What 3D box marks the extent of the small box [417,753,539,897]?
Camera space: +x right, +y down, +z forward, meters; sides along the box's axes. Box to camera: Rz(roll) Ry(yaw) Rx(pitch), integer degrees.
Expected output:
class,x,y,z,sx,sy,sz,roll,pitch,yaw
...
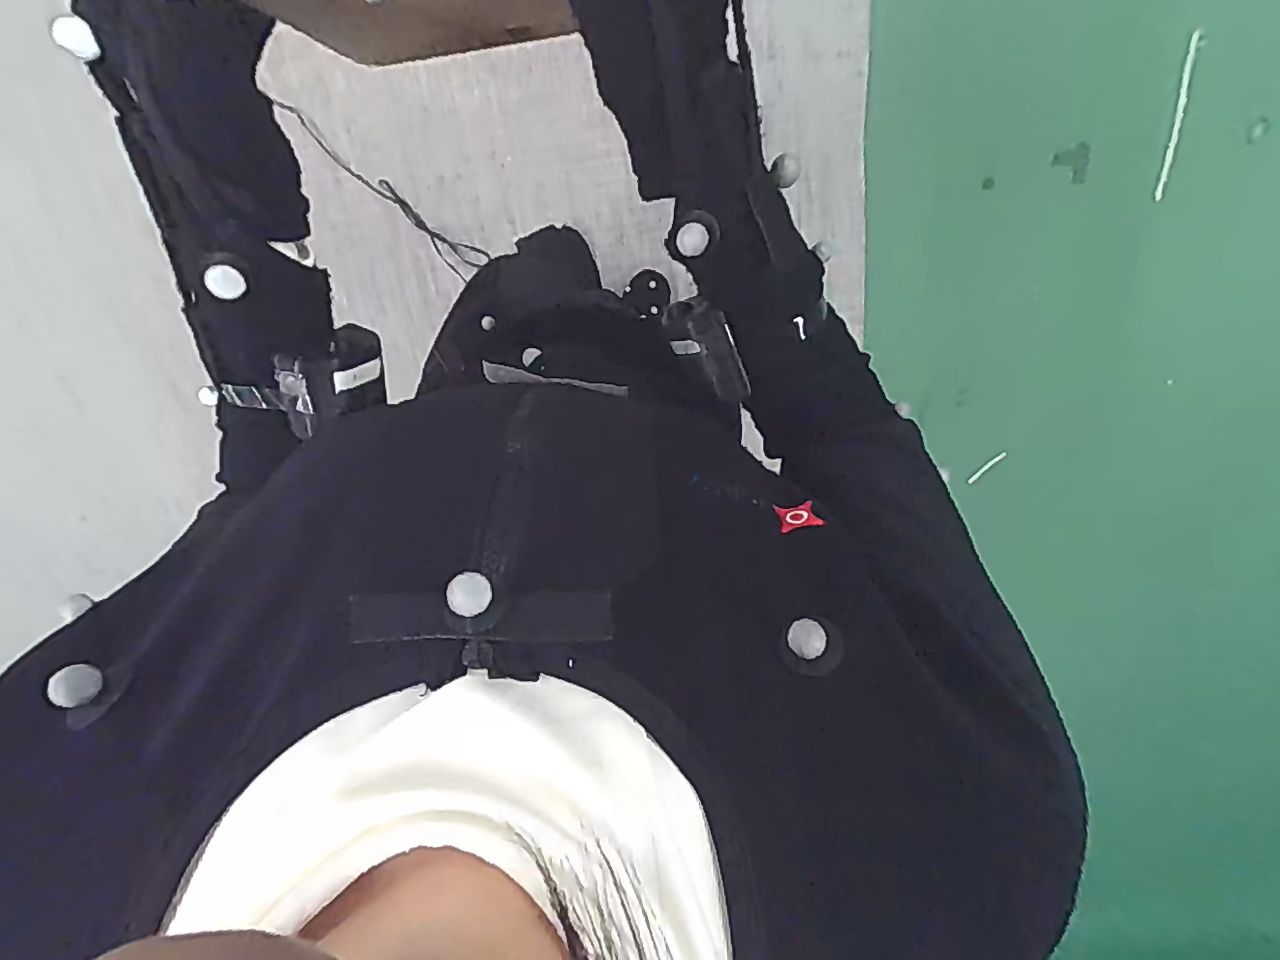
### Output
class,x,y,z,sx,sy,sz,roll,pitch,yaw
small box,-0.314,0.693,1.095,0.168,0.176,0.179,-14,113,4

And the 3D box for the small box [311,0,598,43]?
class,x,y,z,sx,sy,sz,roll,pitch,yaw
small box,-0.106,-0.320,0.220,0.168,0.176,0.179,-8,116,3
